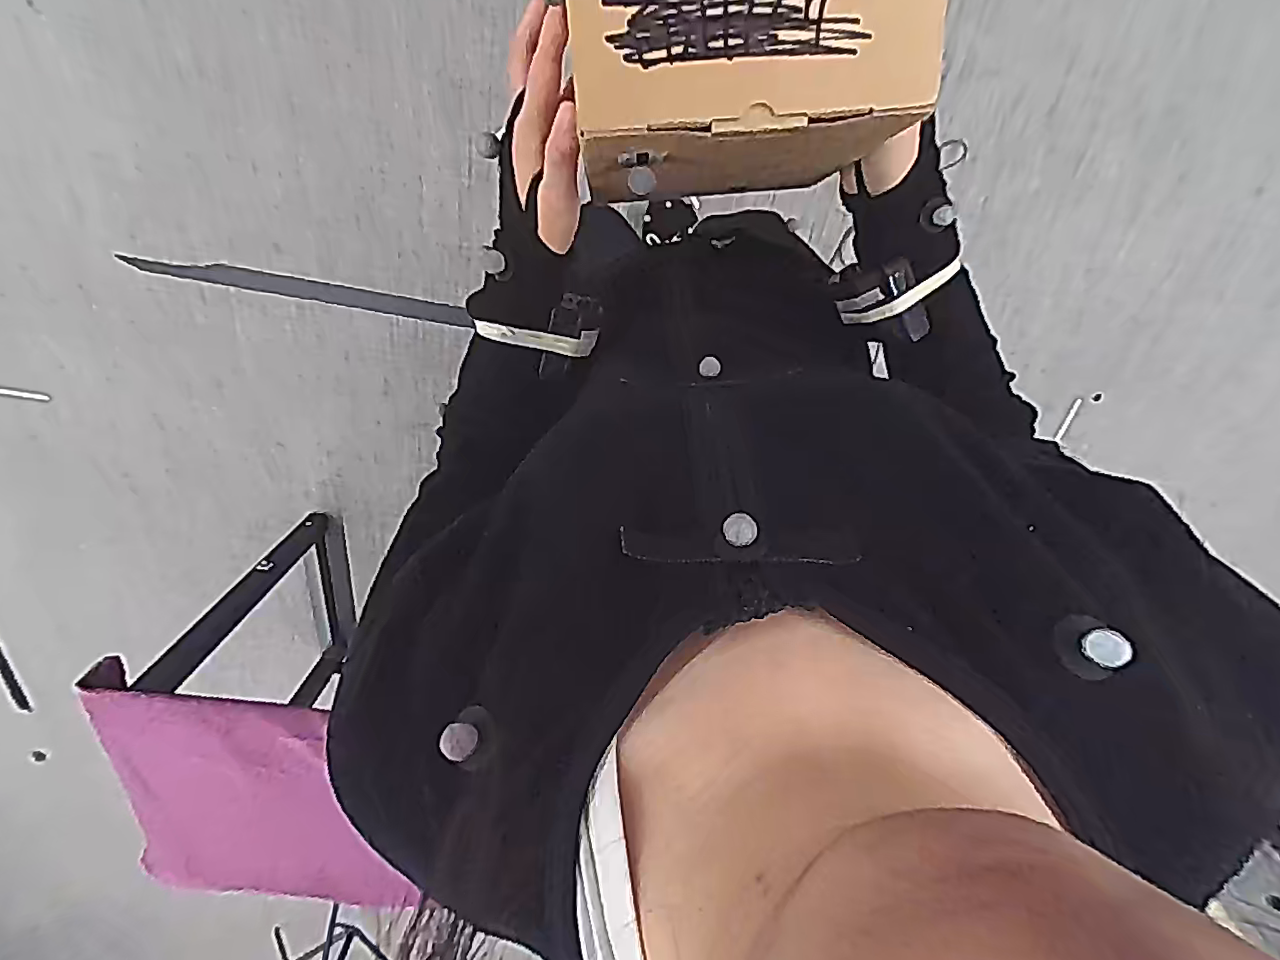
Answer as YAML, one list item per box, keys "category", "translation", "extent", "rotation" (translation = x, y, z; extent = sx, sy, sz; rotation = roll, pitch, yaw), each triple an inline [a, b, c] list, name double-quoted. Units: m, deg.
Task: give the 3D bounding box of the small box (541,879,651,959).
- category: "small box"
  translation: [-0.077, 0.805, 0.912]
  extent: [0.179, 0.176, 0.168]
  rotation: [4, 120, -3]

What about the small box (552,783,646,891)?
- category: "small box"
  translation: [-0.078, 0.728, 1.055]
  extent: [0.168, 0.176, 0.179]
  rotation: [6, 118, -3]
